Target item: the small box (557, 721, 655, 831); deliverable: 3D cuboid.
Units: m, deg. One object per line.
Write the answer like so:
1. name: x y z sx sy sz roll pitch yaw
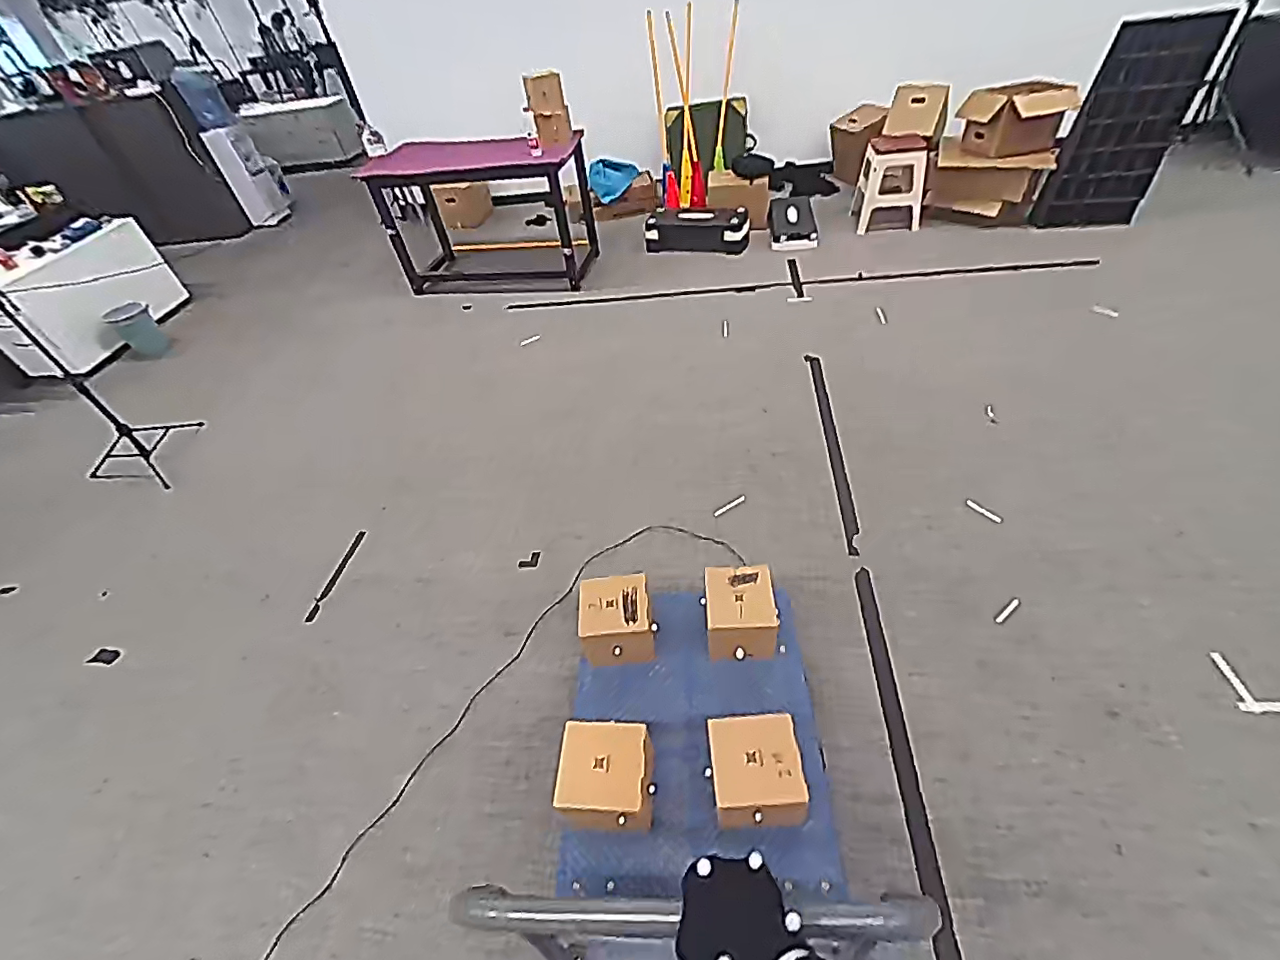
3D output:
1. small box: -0.064 0.632 1.153 0.179 0.176 0.168 -1 45 6

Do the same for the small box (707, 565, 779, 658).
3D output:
1. small box: 0.258 0.339 1.391 0.168 0.176 0.179 -4 46 6

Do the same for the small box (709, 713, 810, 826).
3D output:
1. small box: 0.244 0.606 1.127 0.179 0.176 0.168 -6 45 4
